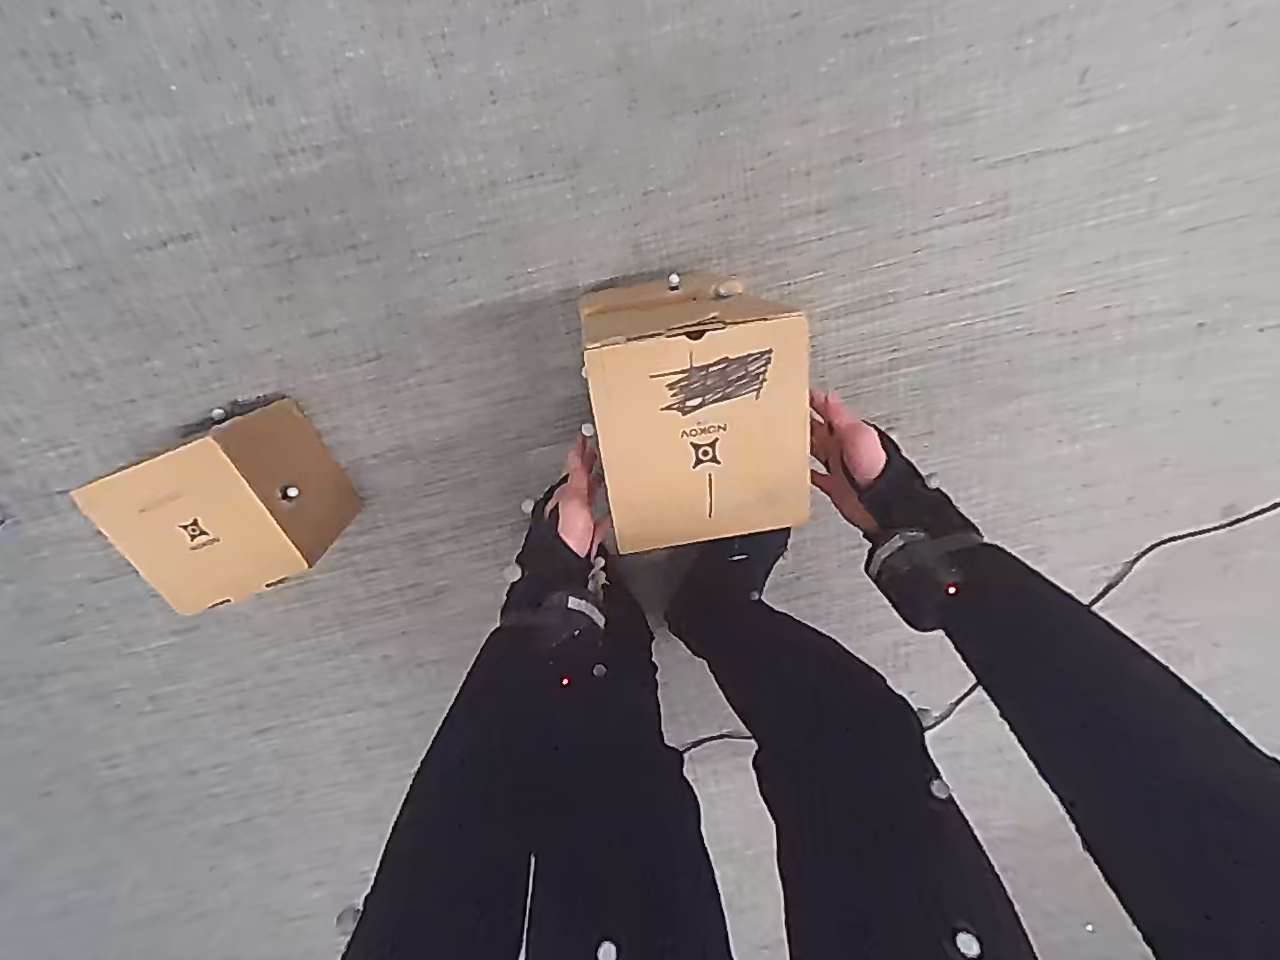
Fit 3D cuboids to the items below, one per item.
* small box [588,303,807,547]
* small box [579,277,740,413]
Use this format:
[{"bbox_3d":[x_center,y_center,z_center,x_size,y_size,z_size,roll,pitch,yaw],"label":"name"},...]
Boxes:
[{"bbox_3d":[0.044,-0.064,0.502,0.168,0.176,0.179,-9,113,-1],"label":"small box"},{"bbox_3d":[0.025,-0.137,0.651,0.168,0.176,0.179,-10,114,-1],"label":"small box"}]
